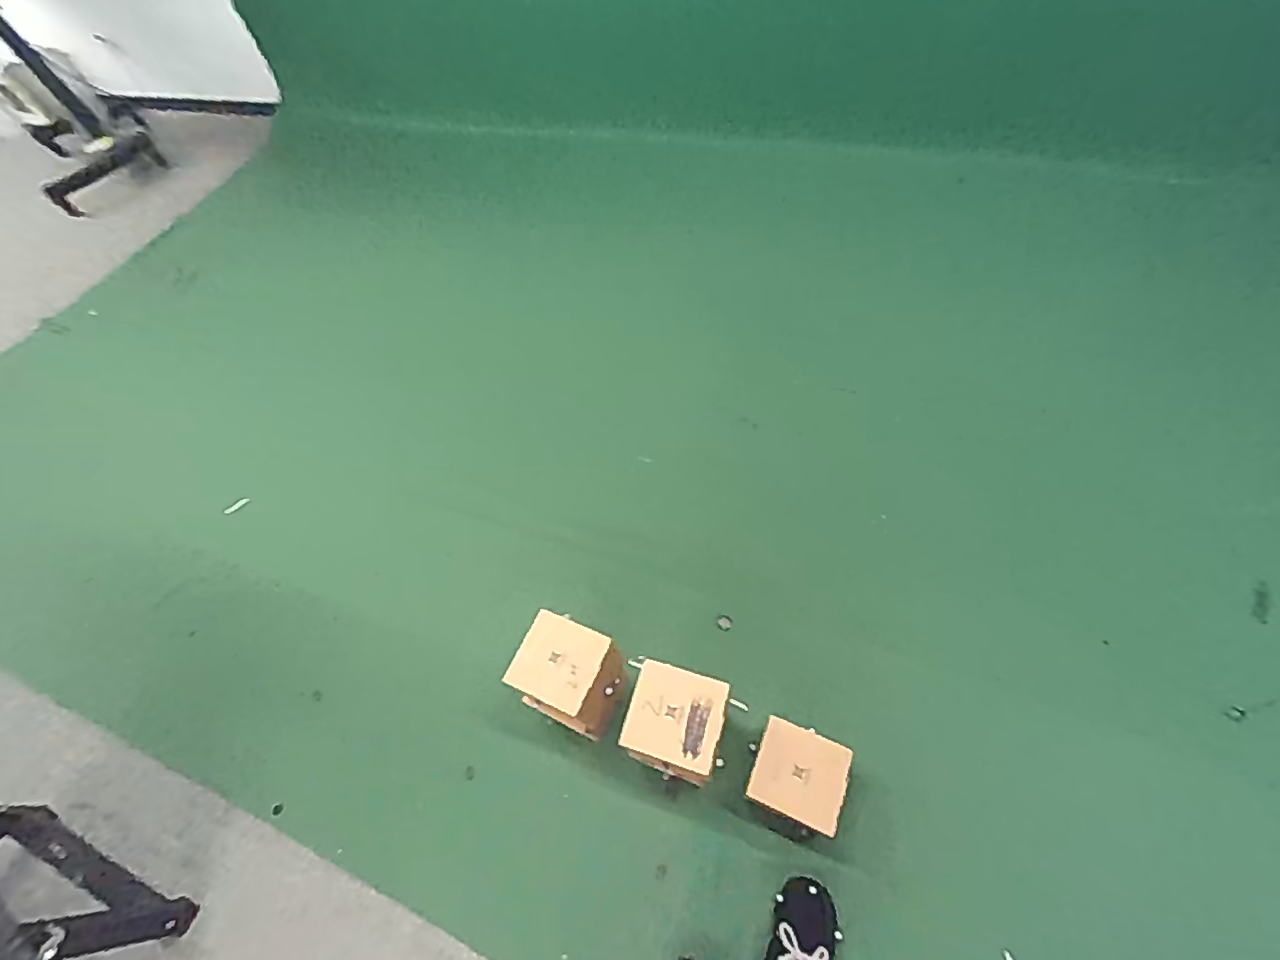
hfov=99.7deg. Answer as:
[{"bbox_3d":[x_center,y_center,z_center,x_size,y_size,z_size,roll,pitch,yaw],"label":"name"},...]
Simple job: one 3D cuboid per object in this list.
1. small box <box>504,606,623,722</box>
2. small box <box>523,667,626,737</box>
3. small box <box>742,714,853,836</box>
[{"bbox_3d":[-0.156,0.402,1.168,0.179,0.176,0.168,19,63,19],"label":"small box"},{"bbox_3d":[-0.147,0.495,1.305,0.168,0.176,0.179,20,63,20],"label":"small box"},{"bbox_3d":[0.329,0.625,1.151,0.179,0.176,0.168,19,62,19],"label":"small box"}]
